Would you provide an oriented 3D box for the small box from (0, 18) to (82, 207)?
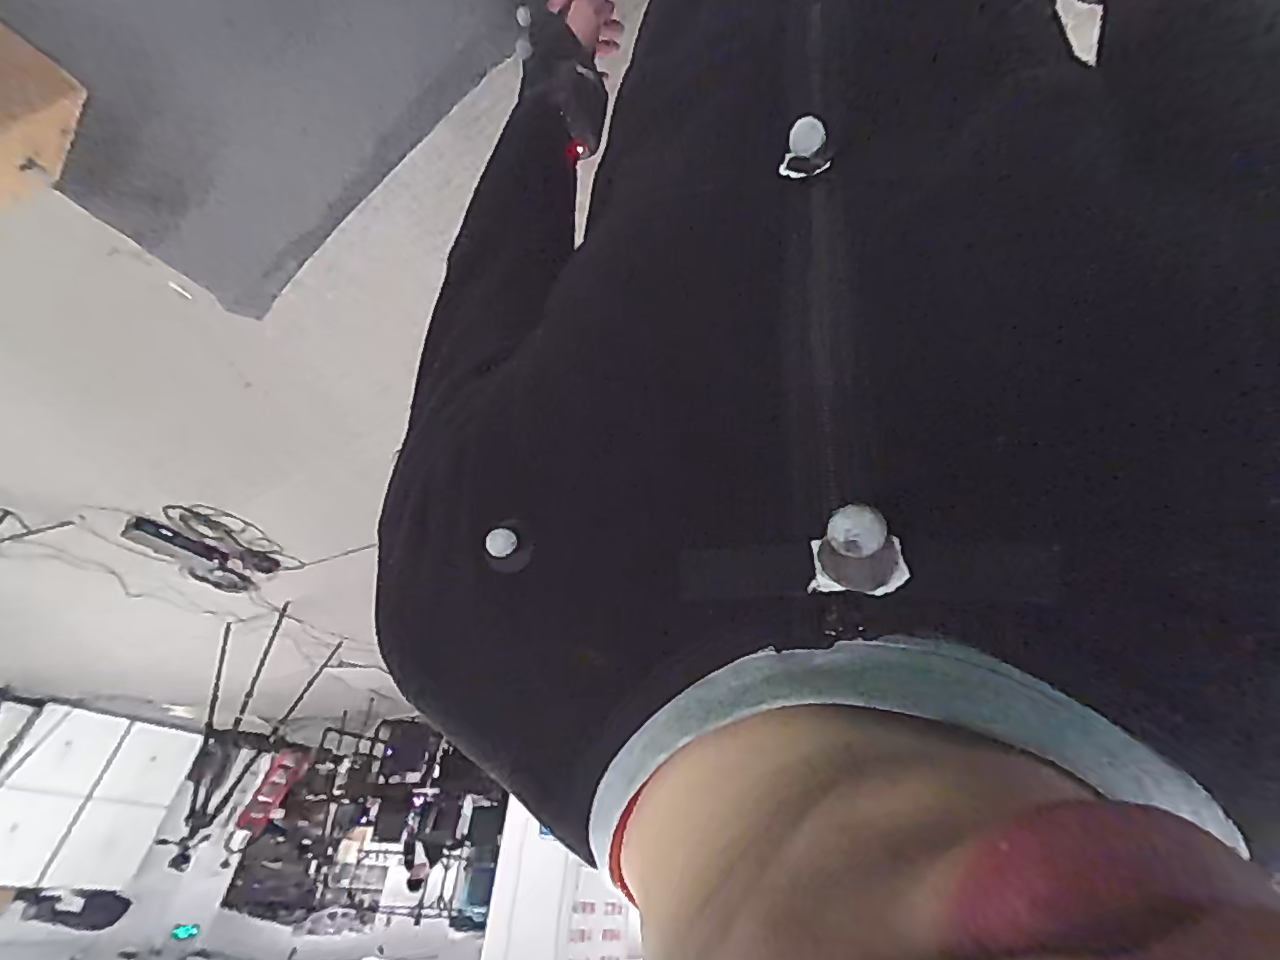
[{"bbox_3d":[-0.738,-0.402,0.550,0.168,0.176,0.179,-24,136,33],"label":"small box"}]
